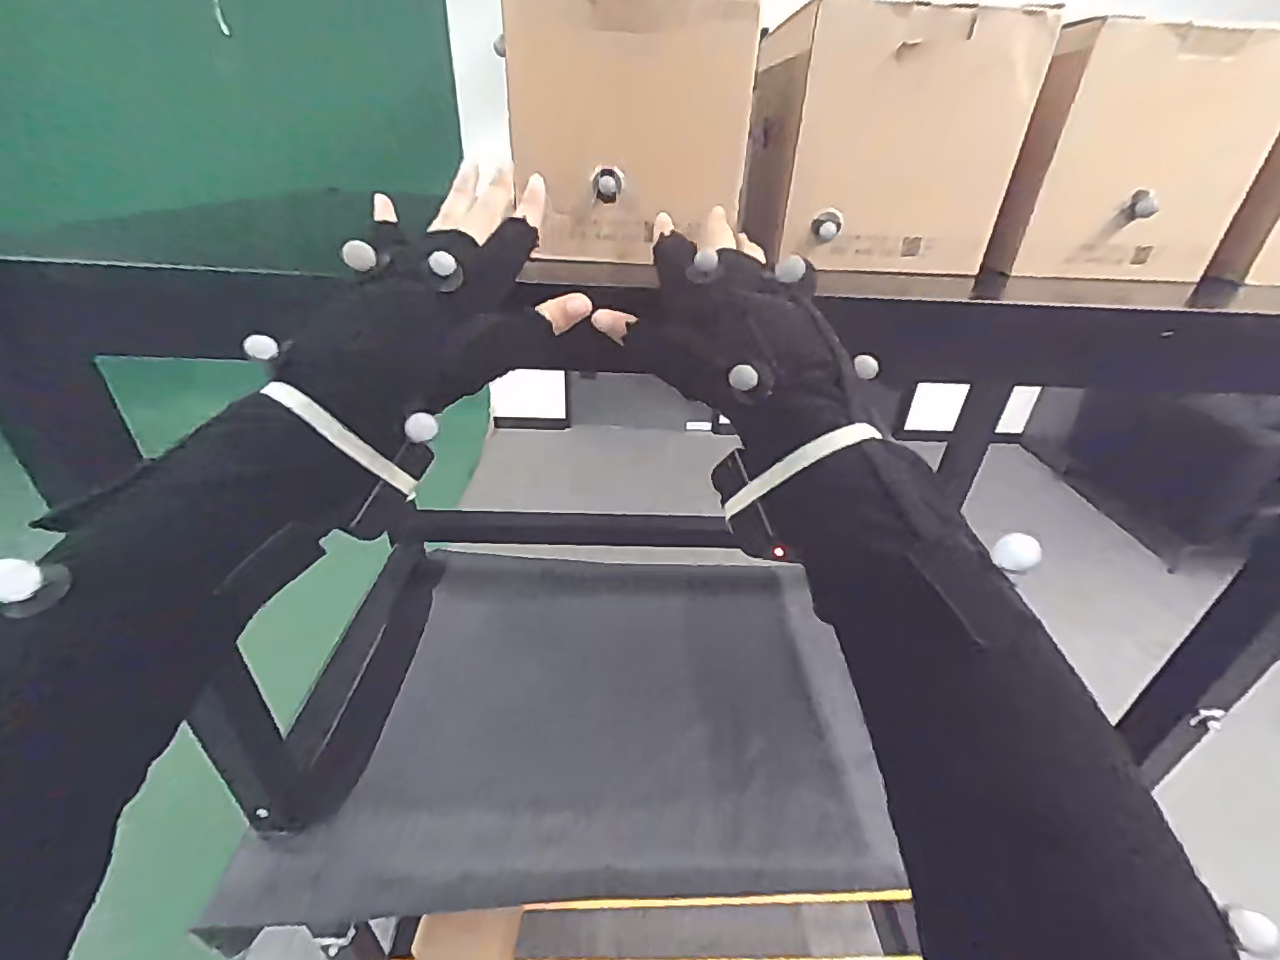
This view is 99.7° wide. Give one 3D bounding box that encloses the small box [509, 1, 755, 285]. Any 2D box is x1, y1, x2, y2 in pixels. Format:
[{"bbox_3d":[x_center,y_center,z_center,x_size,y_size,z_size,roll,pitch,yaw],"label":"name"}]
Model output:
[{"bbox_3d":[-0.009,-0.275,0.463,0.168,0.176,0.179,2,31,-1],"label":"small box"}]
